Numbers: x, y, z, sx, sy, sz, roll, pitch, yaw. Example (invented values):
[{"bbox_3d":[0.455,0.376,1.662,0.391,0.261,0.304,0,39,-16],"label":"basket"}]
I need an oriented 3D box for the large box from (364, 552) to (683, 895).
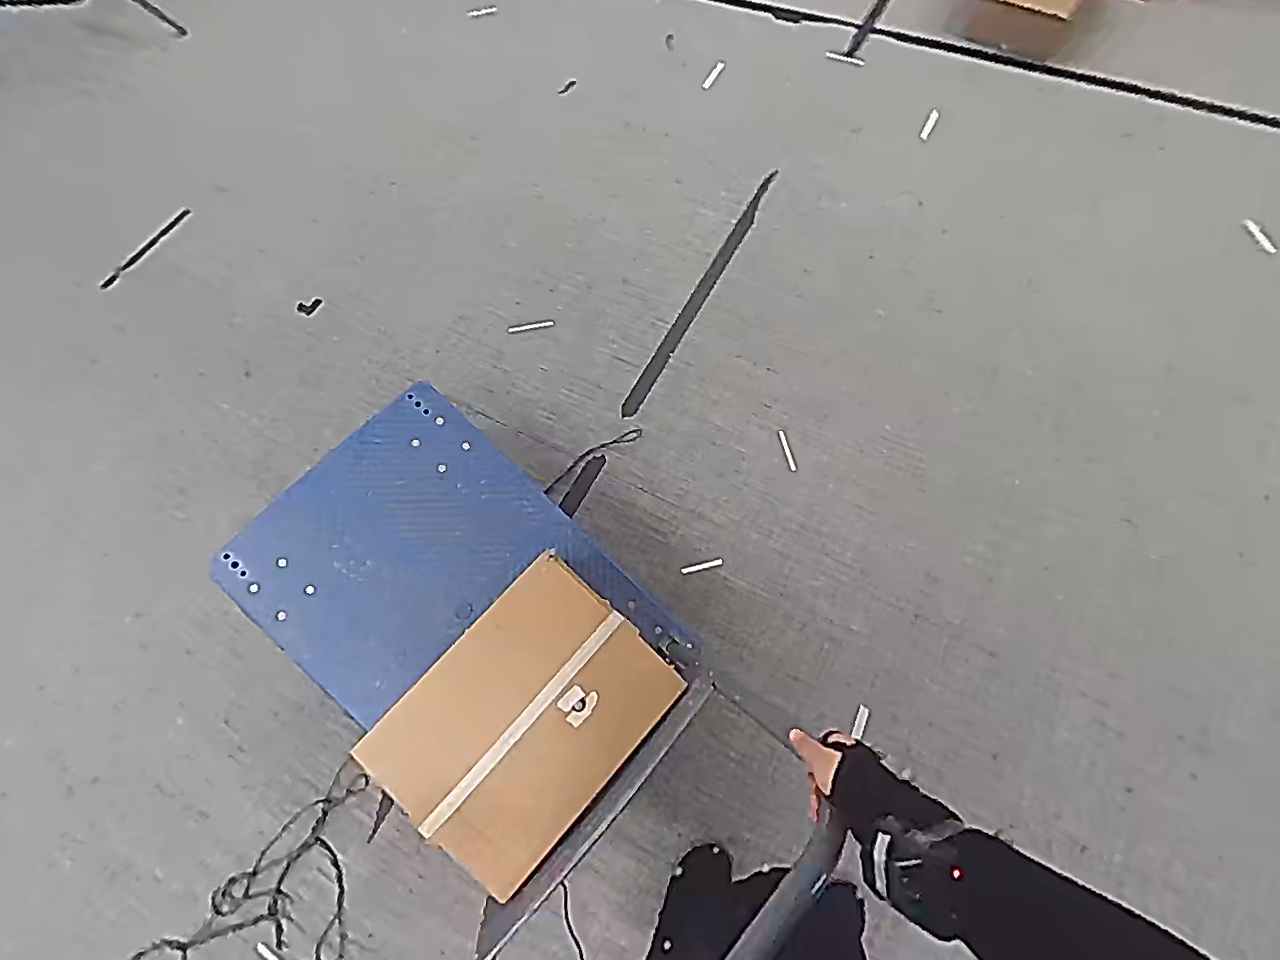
[{"bbox_3d":[-0.187,0.390,0.974,0.320,0.320,0.408,43,77,2],"label":"large box"}]
